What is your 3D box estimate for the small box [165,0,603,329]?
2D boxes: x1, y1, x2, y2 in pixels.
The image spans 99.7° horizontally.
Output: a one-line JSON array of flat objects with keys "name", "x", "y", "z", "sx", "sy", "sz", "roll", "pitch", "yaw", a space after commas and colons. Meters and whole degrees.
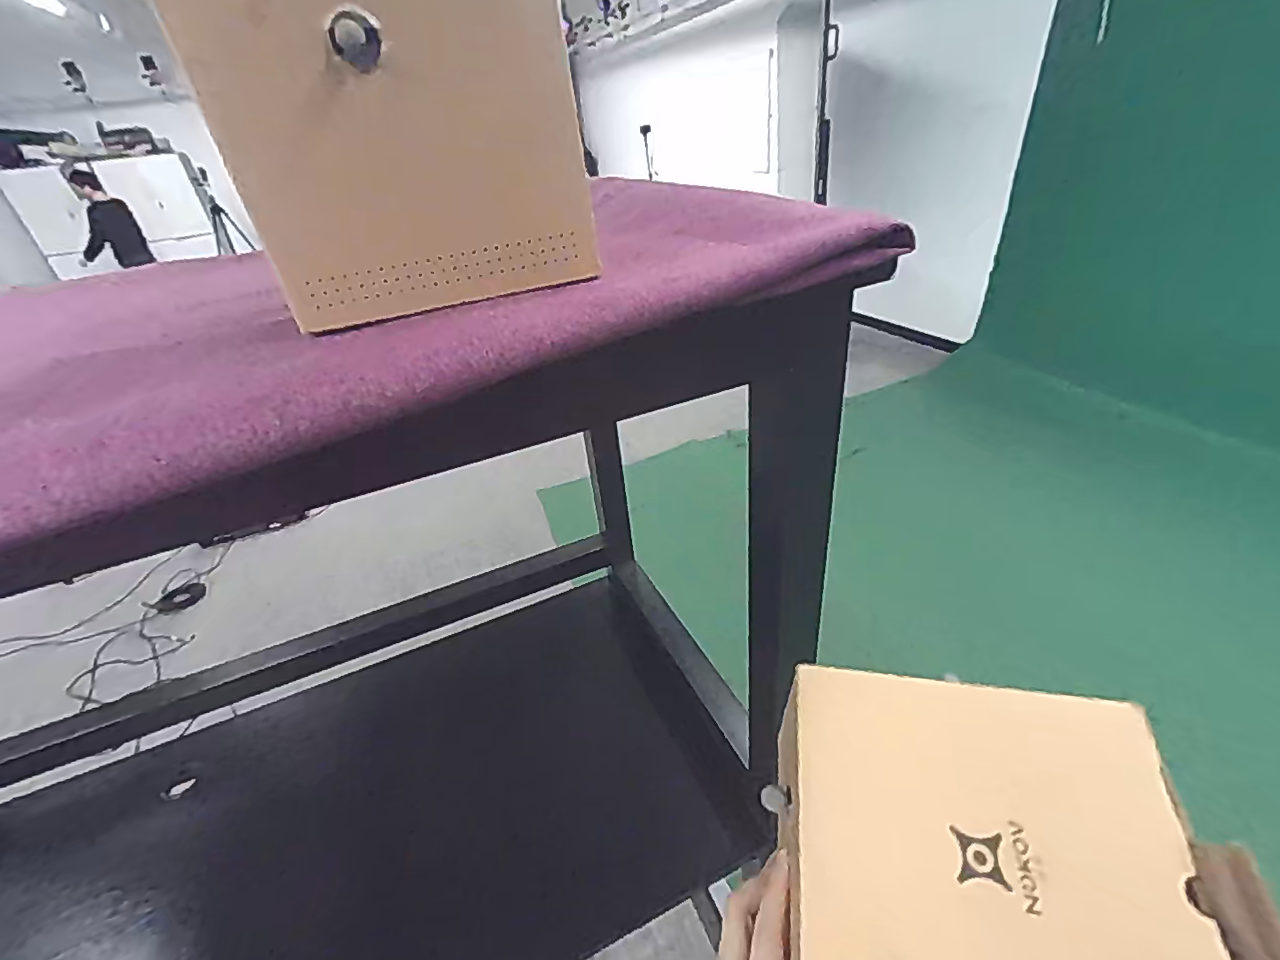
[{"name": "small box", "x": -0.135, "y": -0.205, "z": 0.342, "sx": 0.179, "sy": 0.176, "sz": 0.168, "roll": -15, "pitch": 32, "yaw": -11}]

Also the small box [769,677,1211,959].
[{"name": "small box", "x": 0.170, "y": 0.235, "z": 0.320, "sx": 0.179, "sy": 0.176, "sz": 0.168, "roll": 3, "pitch": 53, "yaw": 11}]
